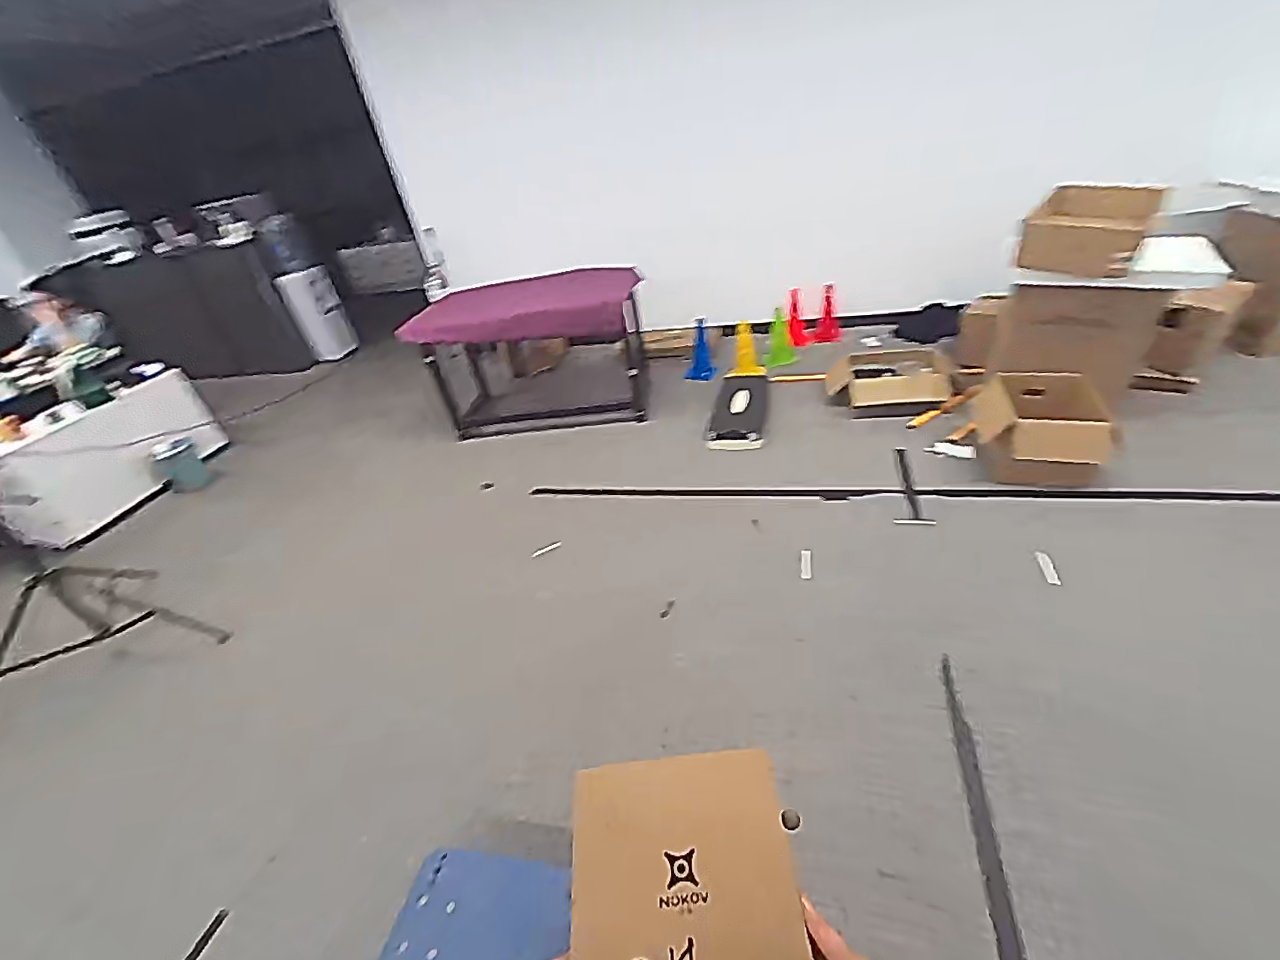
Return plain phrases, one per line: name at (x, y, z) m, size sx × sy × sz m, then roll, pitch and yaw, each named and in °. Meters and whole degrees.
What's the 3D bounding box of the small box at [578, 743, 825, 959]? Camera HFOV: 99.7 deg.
small box at (0.049, 0.346, 0.445) m, size 0.168 × 0.176 × 0.179 m, roll -9°, pitch 42°, yaw 4°
